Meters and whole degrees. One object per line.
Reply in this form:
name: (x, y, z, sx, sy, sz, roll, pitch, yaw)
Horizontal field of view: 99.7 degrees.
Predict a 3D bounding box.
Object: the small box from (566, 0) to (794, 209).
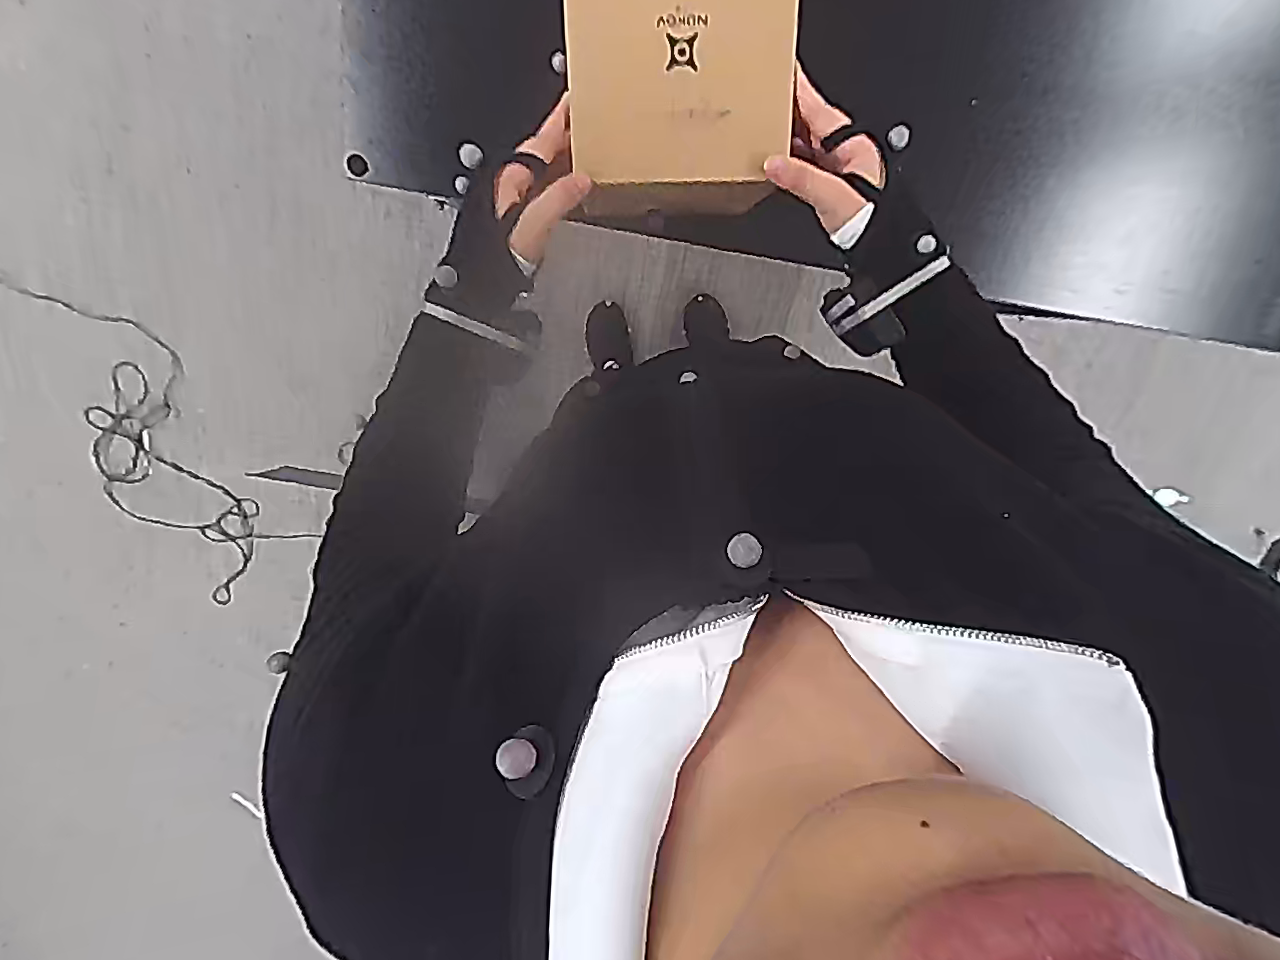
small box: (0.026, -0.343, 0.465, 0.168, 0.176, 0.179, -2, 110, 0)
